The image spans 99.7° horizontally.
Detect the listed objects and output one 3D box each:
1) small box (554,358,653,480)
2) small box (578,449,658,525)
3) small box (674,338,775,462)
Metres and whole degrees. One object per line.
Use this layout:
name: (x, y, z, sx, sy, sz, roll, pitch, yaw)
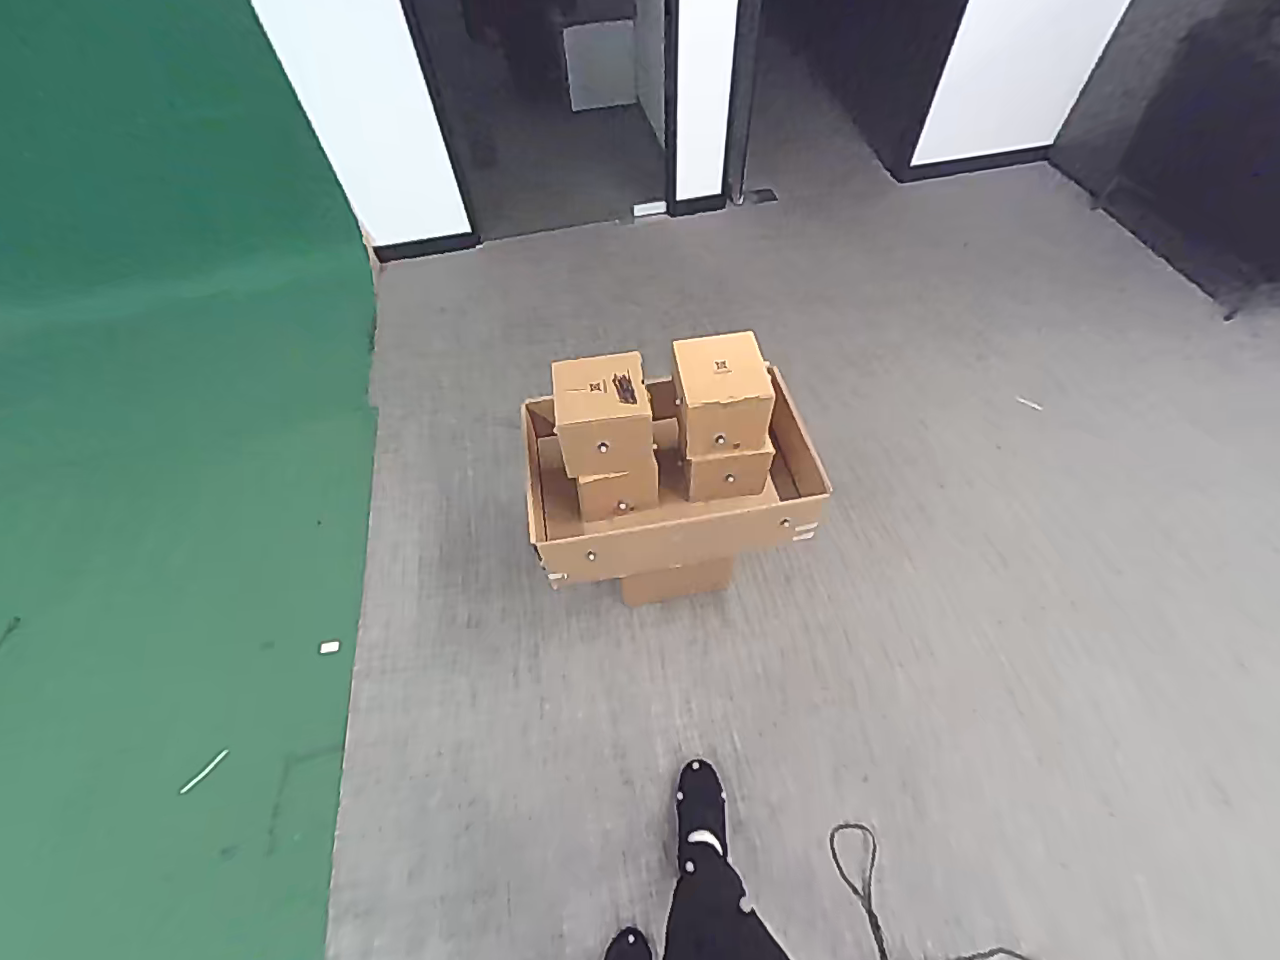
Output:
small box: (-0.070, -0.118, 1.076, 0.179, 0.176, 0.168, -7, 55, -2)
small box: (-0.060, -0.026, 1.211, 0.168, 0.176, 0.179, -12, 56, -6)
small box: (0.161, -0.160, 1.099, 0.168, 0.176, 0.179, -8, 55, -2)
